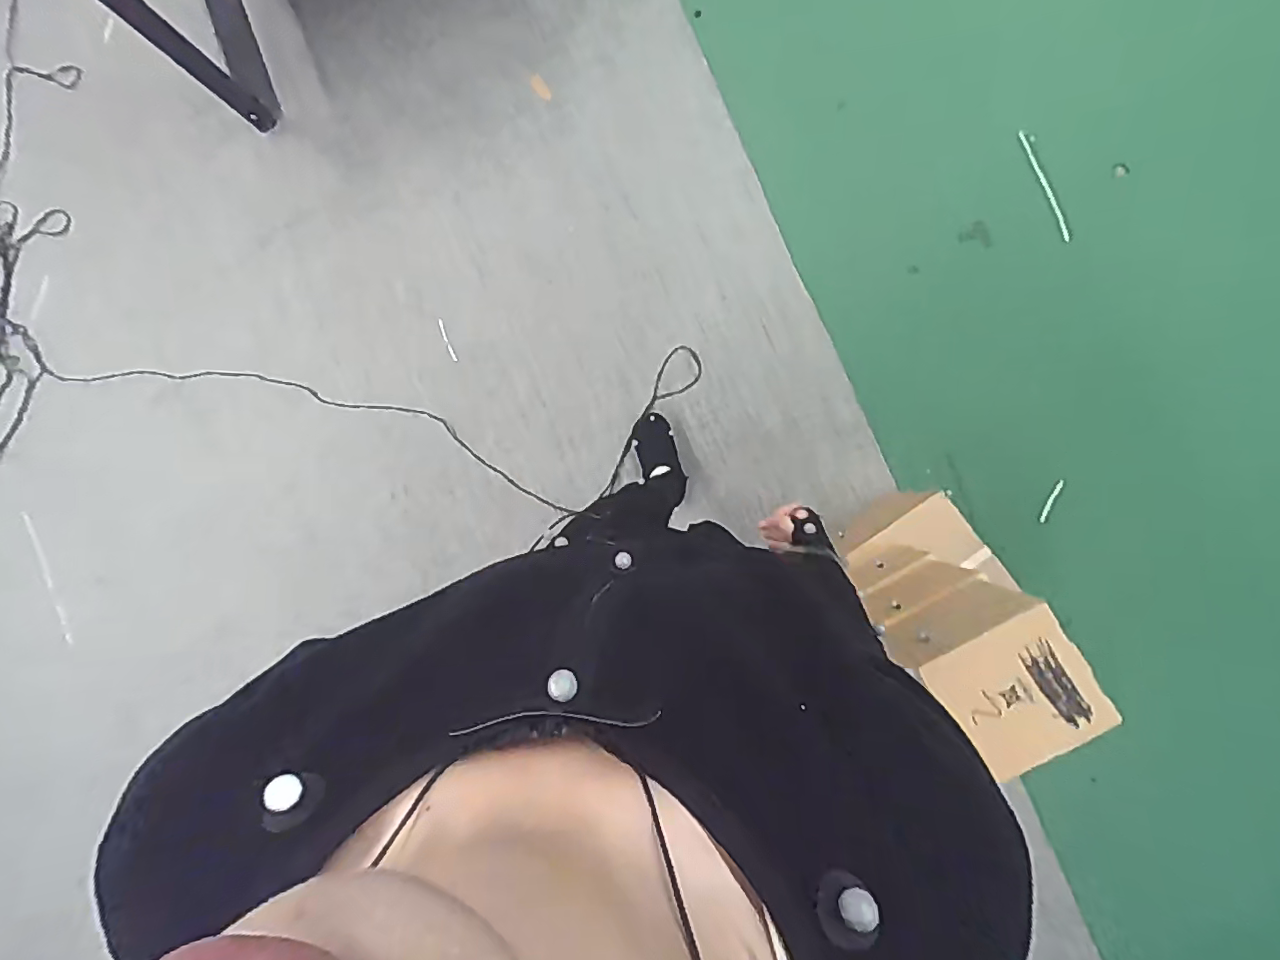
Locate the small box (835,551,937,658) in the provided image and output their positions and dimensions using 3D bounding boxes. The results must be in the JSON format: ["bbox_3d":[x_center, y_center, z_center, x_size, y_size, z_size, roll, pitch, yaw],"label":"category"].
[{"bbox_3d":[0.510,0.250,1.056,0.168,0.176,0.179,-31,85,5],"label":"small box"}]

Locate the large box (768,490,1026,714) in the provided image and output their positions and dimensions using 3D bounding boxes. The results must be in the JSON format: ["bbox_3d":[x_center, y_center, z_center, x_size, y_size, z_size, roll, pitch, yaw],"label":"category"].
[{"bbox_3d":[0.575,0.266,1.296,0.408,0.320,0.320,-36,86,3],"label":"large box"}]

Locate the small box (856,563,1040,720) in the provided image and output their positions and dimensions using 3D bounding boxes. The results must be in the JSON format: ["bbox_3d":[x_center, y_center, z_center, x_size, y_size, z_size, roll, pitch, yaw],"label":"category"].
[{"bbox_3d":[0.492,0.253,0.895,0.179,0.176,0.168,-30,85,5],"label":"small box"}]
